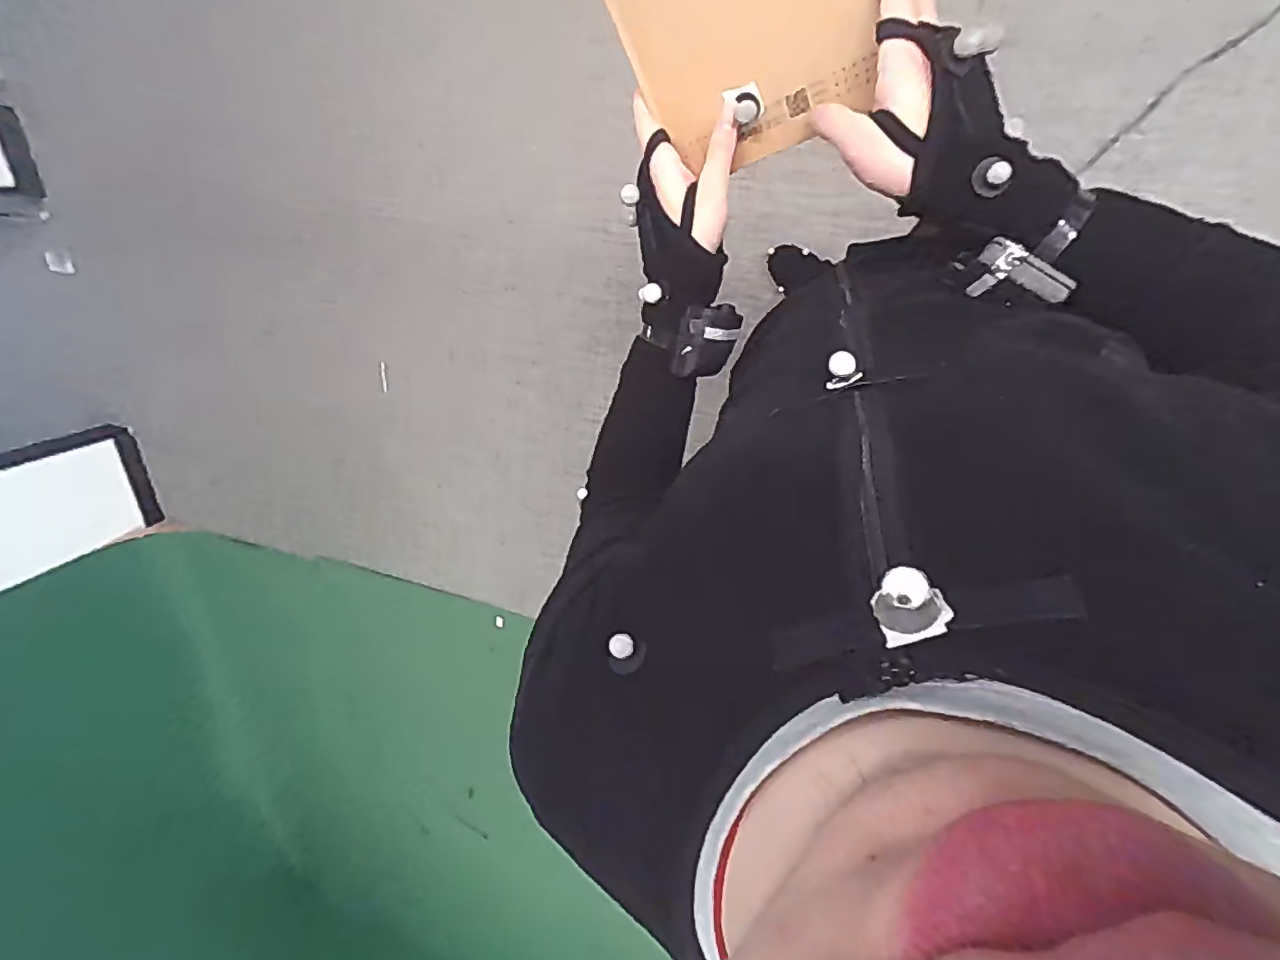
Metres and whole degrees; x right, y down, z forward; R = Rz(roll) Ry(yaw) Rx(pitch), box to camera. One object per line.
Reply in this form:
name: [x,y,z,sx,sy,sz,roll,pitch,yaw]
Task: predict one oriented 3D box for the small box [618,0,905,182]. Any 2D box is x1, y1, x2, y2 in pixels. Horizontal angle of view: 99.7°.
small box: [0.097,-0.363,0.414,0.168,0.179,0.176,-9,131,33]
